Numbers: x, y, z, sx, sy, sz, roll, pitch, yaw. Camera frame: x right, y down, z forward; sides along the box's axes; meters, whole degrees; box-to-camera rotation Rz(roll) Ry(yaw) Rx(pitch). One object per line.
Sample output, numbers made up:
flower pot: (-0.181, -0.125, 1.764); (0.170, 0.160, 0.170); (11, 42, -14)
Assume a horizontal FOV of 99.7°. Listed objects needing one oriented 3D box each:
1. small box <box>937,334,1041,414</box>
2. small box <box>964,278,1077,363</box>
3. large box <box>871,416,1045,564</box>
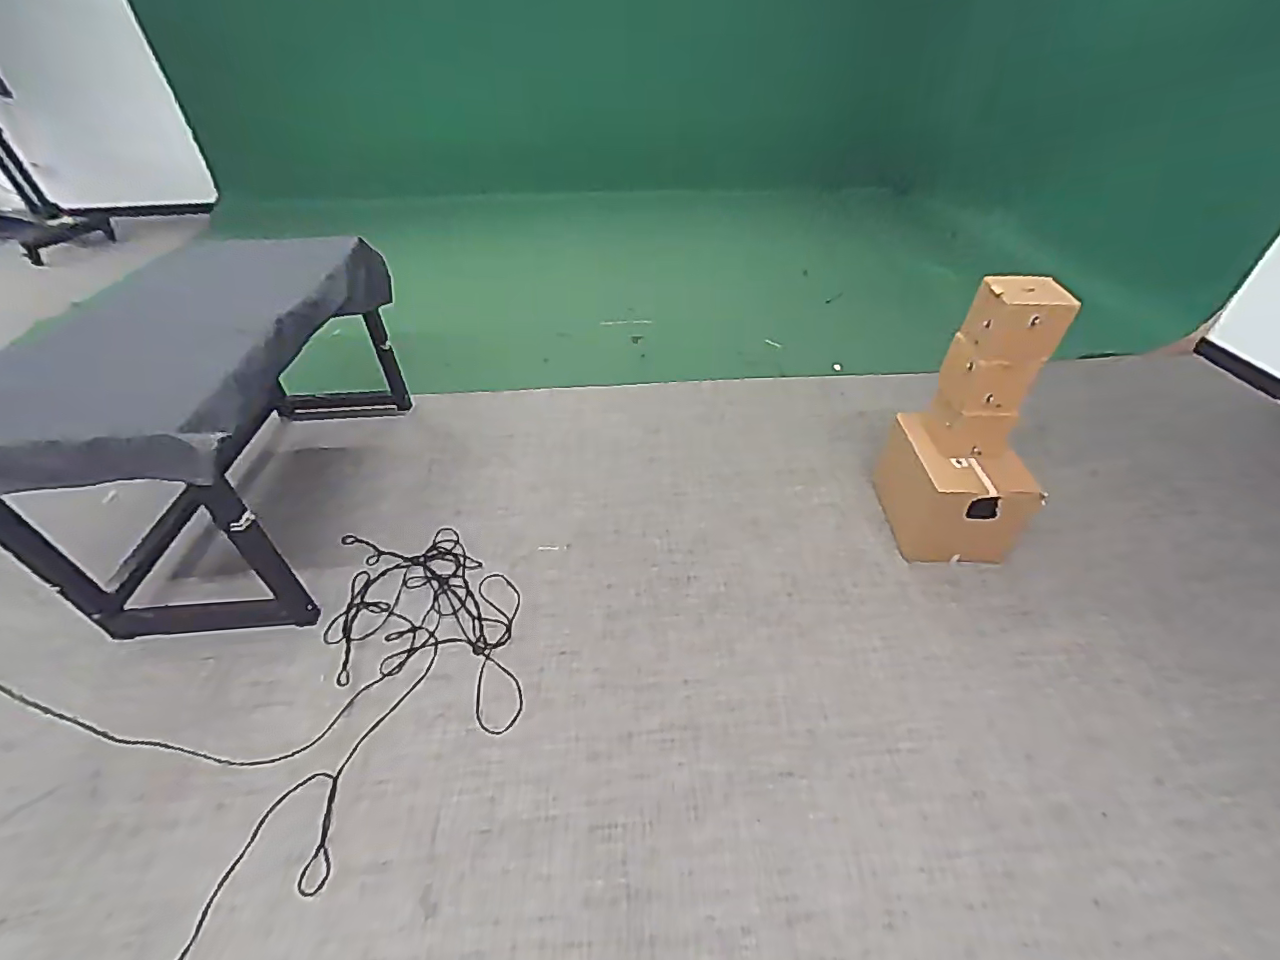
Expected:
small box: (1.000, -0.309, 1.571); (0.168, 0.176, 0.179); (-1, 43, 0)
small box: (1.010, -0.429, 1.461); (0.179, 0.176, 0.168); (2, 44, 1)
large box: (1.021, 0.029, 1.804); (0.320, 0.320, 0.408); (0, 43, 2)
